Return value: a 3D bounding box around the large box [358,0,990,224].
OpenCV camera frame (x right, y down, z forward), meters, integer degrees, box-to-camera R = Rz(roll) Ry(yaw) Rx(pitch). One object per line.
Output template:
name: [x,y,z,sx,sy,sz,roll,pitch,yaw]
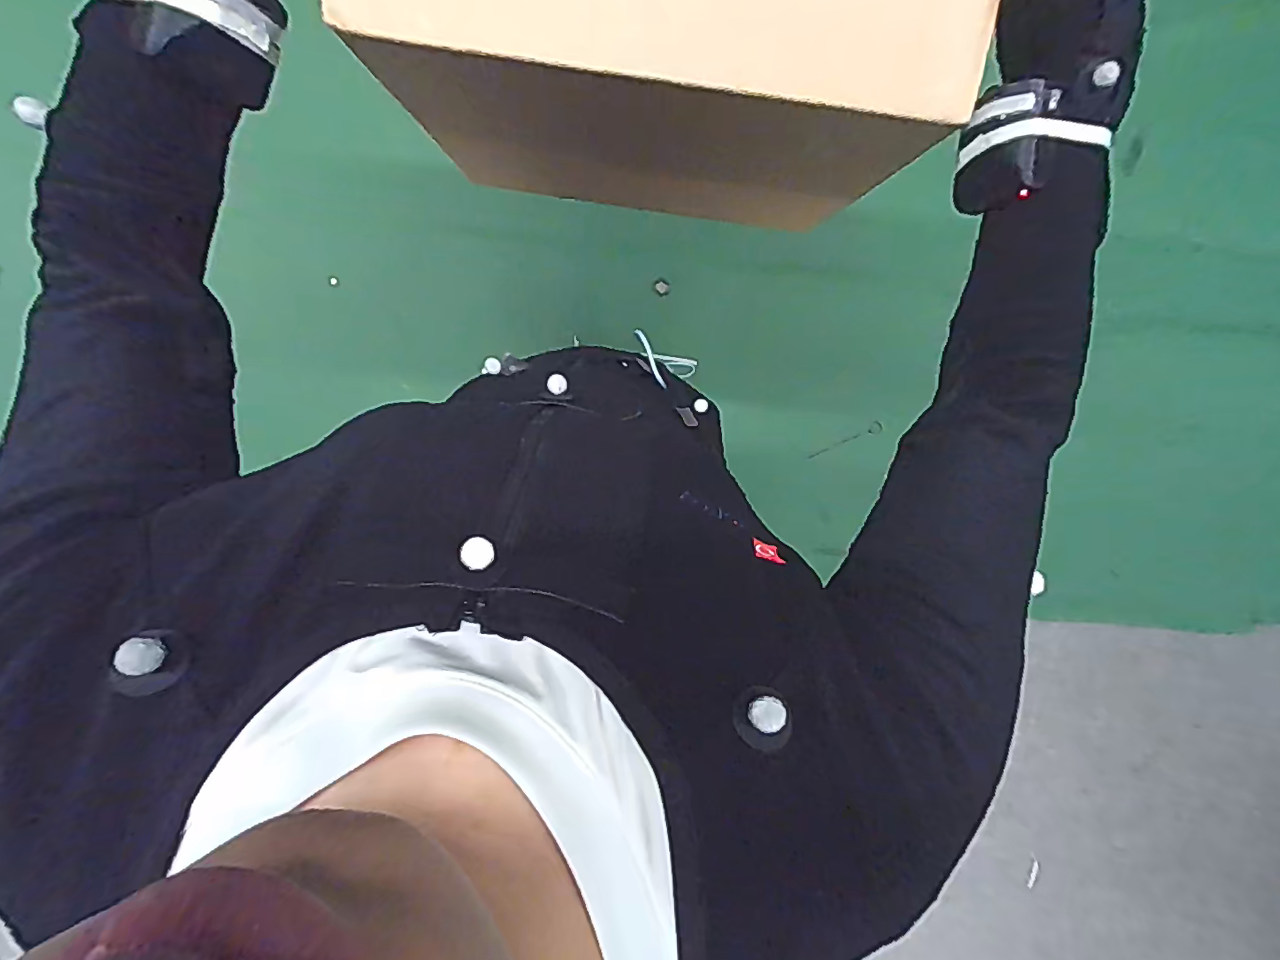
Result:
large box: [0.031,-0.440,0.460,0.408,0.320,0.320,7,103,-4]
